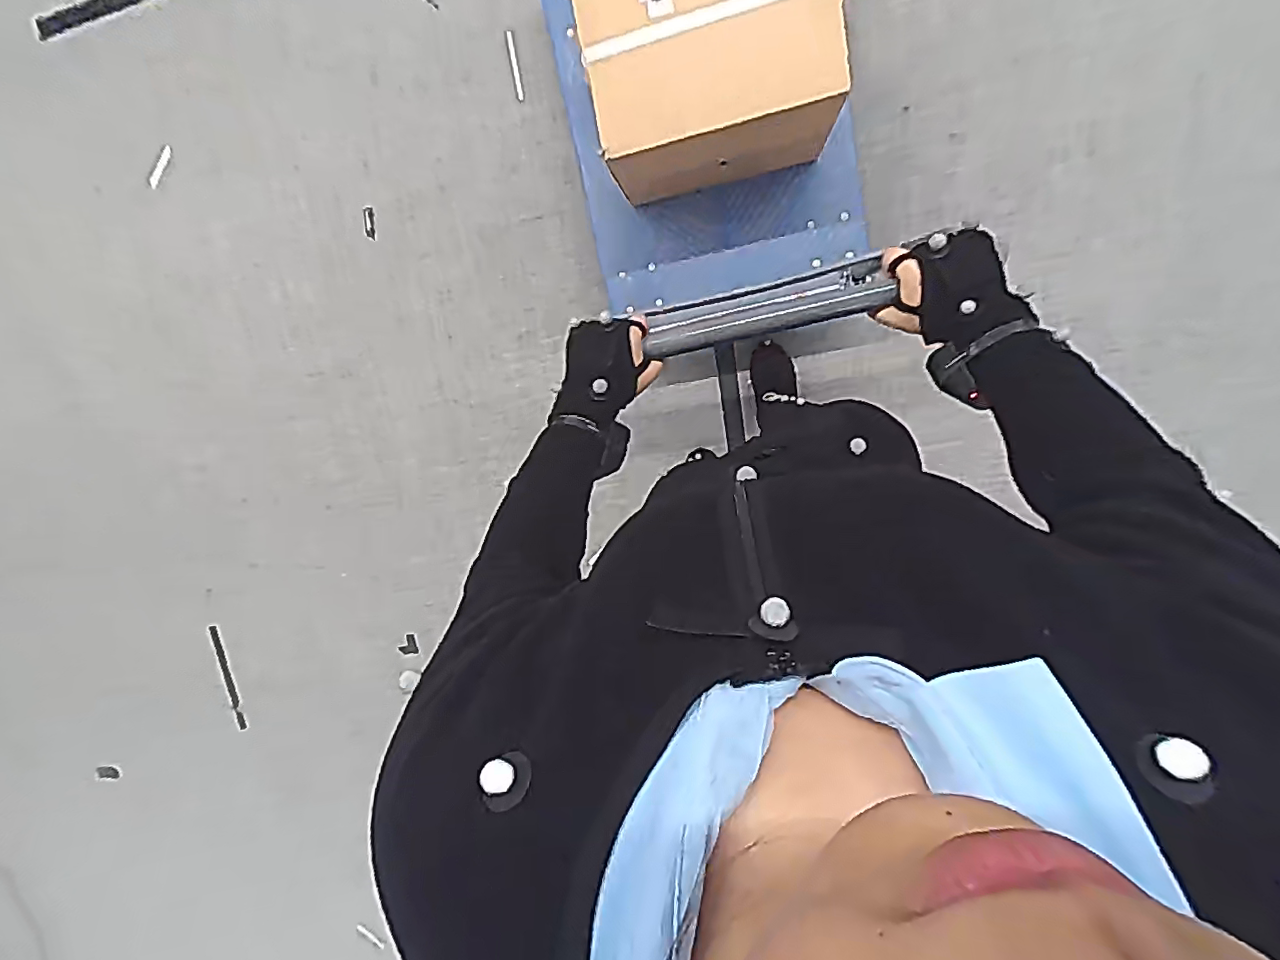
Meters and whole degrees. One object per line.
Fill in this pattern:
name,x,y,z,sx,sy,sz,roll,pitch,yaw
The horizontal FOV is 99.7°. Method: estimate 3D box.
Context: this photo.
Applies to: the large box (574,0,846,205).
large box,0.131,-0.764,1.013,0.408,0.320,0.320,-10,100,12
